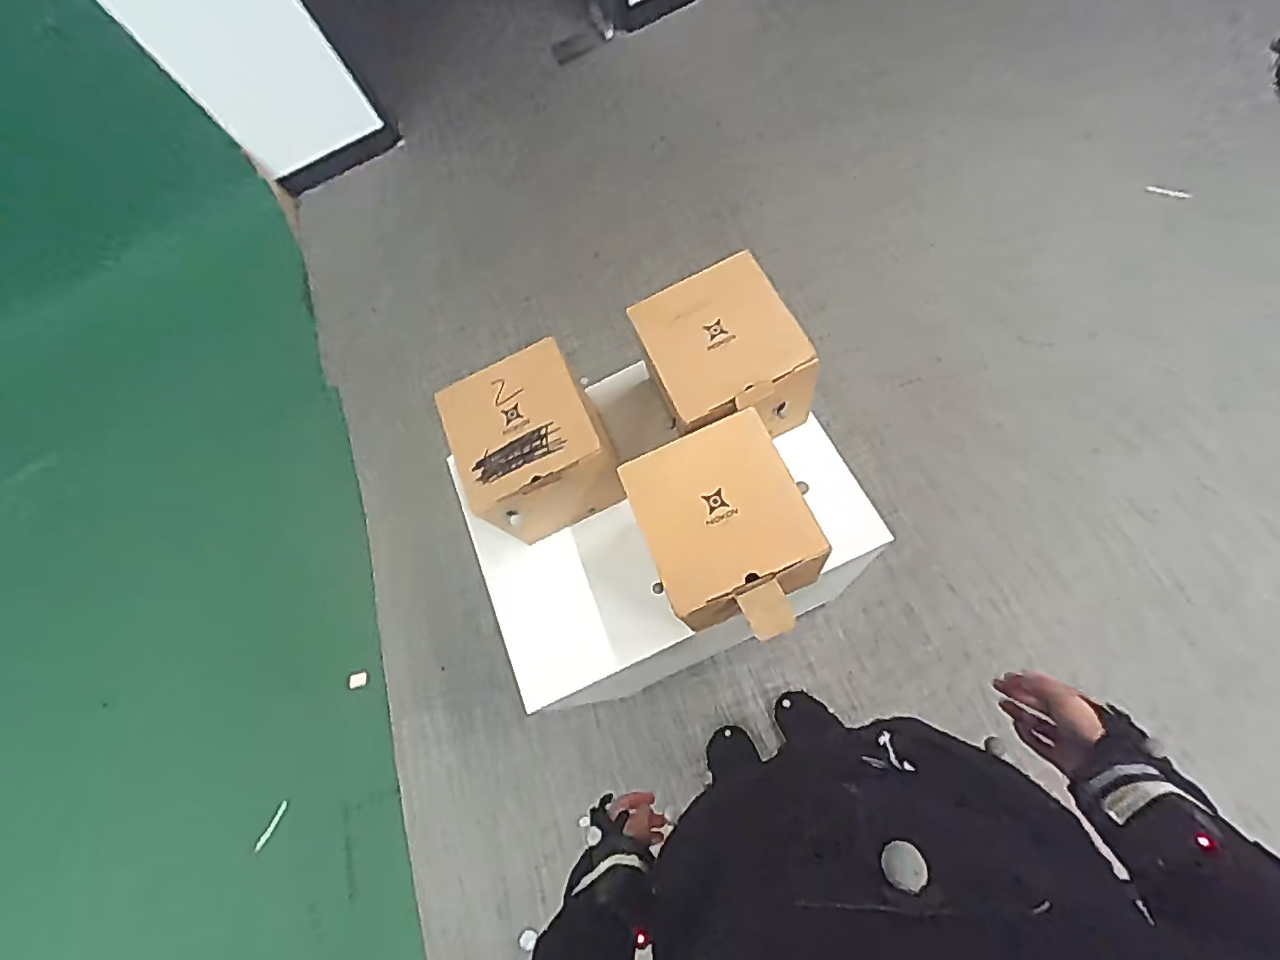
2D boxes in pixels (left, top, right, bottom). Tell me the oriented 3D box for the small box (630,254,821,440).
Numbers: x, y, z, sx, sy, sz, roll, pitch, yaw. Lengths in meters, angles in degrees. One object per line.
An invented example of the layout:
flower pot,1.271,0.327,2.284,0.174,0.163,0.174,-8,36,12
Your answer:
small box,0.108,-0.139,0.691,0.168,0.176,0.179,-25,67,1

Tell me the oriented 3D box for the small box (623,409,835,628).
small box,0.098,0.054,0.624,0.168,0.176,0.179,-24,67,2
